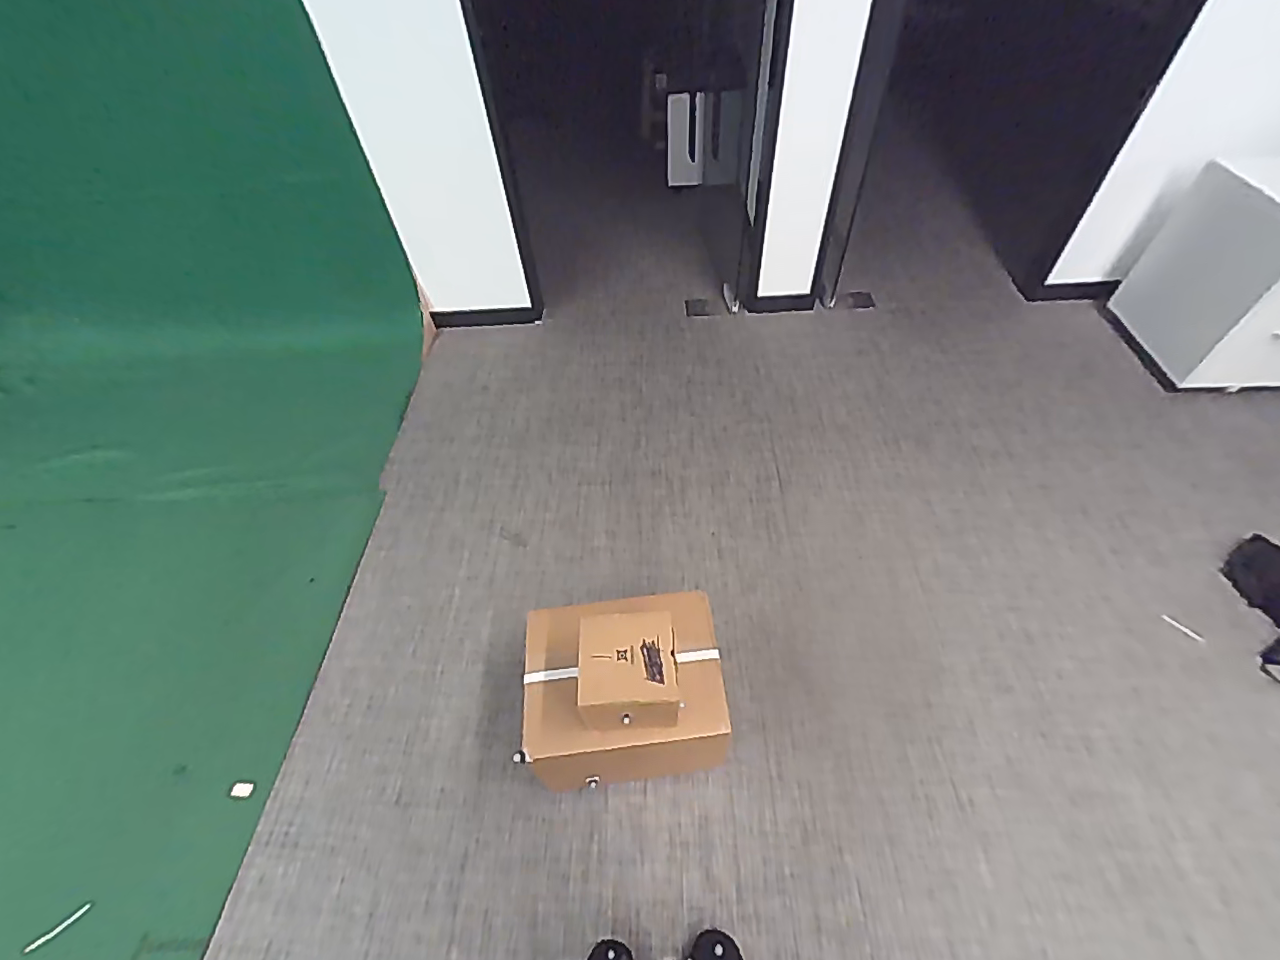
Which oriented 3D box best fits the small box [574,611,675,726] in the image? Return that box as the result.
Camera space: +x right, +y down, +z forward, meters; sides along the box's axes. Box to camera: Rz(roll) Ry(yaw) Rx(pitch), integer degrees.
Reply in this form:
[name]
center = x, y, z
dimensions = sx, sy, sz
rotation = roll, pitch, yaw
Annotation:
[small box]
center = -0.025, 0.365, 1.041
dimensions = 0.179, 0.176, 0.168
rotation = -4, 52, 2
